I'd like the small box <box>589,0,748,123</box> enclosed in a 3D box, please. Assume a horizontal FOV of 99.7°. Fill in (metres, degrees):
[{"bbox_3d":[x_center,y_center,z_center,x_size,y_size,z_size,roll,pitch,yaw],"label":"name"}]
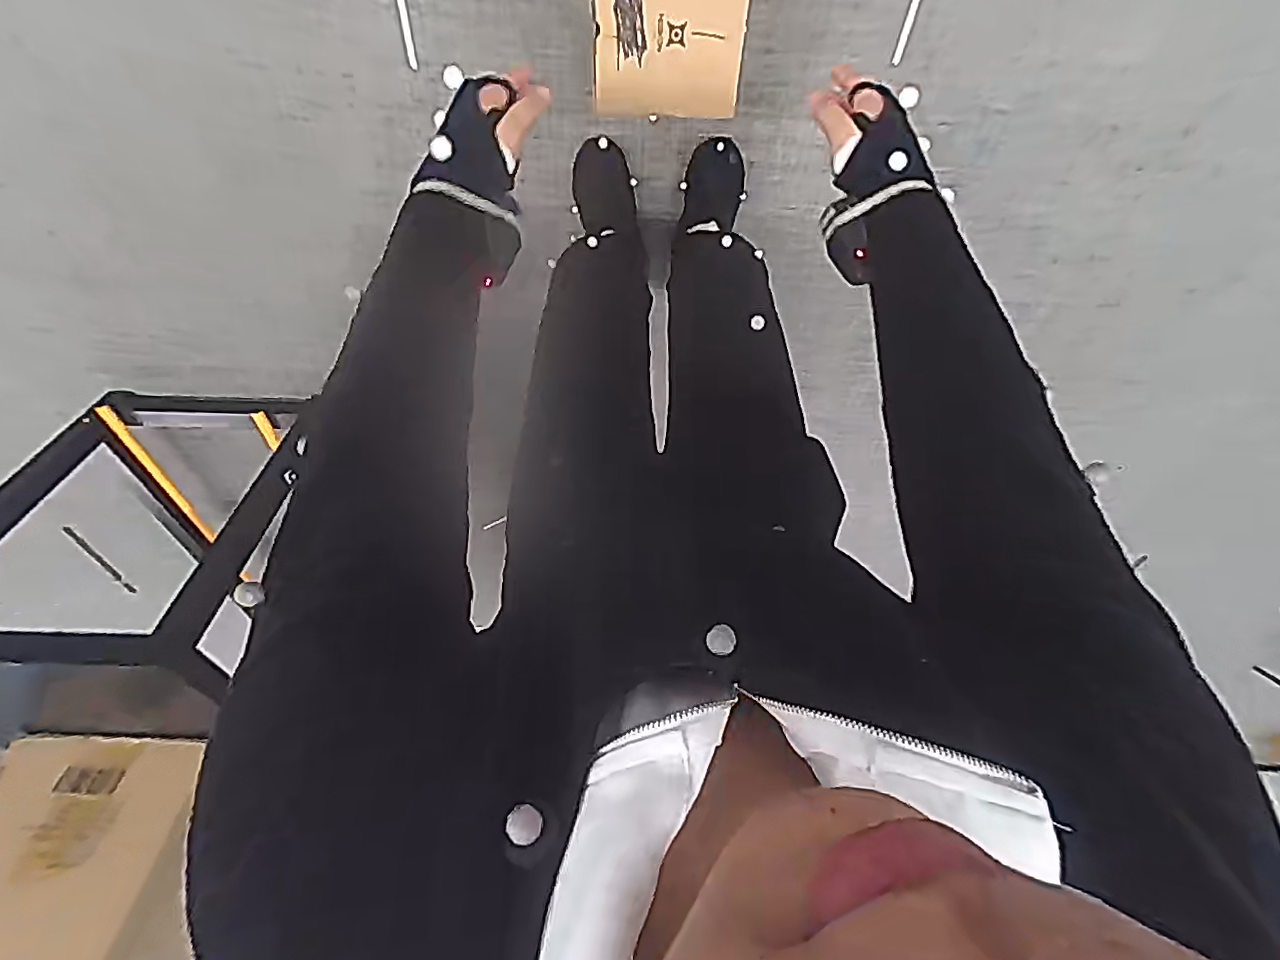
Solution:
[{"bbox_3d":[0.032,-0.561,0.667,0.179,0.176,0.168,2,137,-2],"label":"small box"}]
